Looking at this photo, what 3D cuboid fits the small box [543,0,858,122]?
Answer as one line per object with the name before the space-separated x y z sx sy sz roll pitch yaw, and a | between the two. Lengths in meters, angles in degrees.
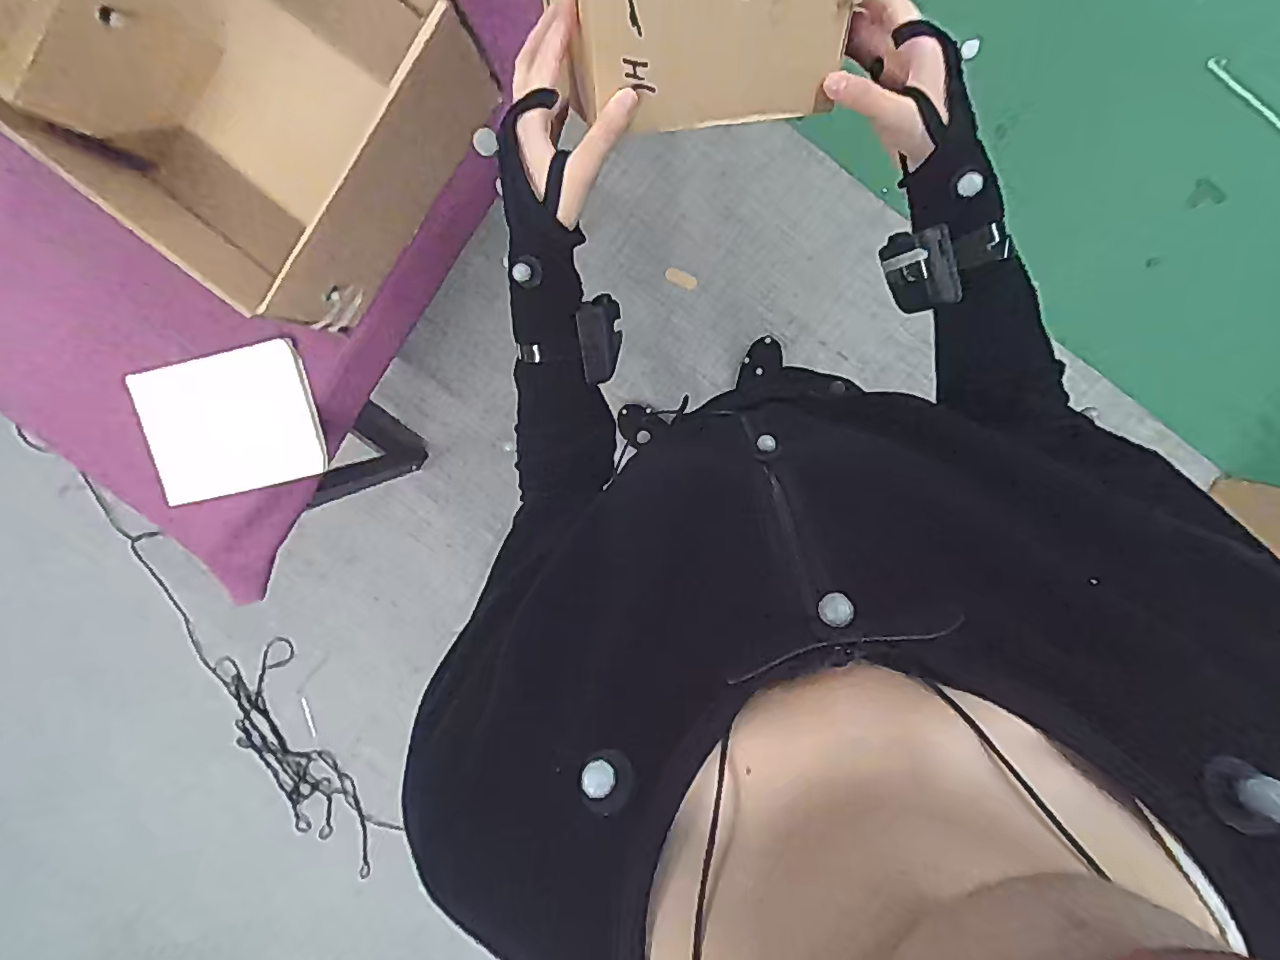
small box | 0.032 -0.358 0.363 0.179 0.176 0.168 -12 135 -12
